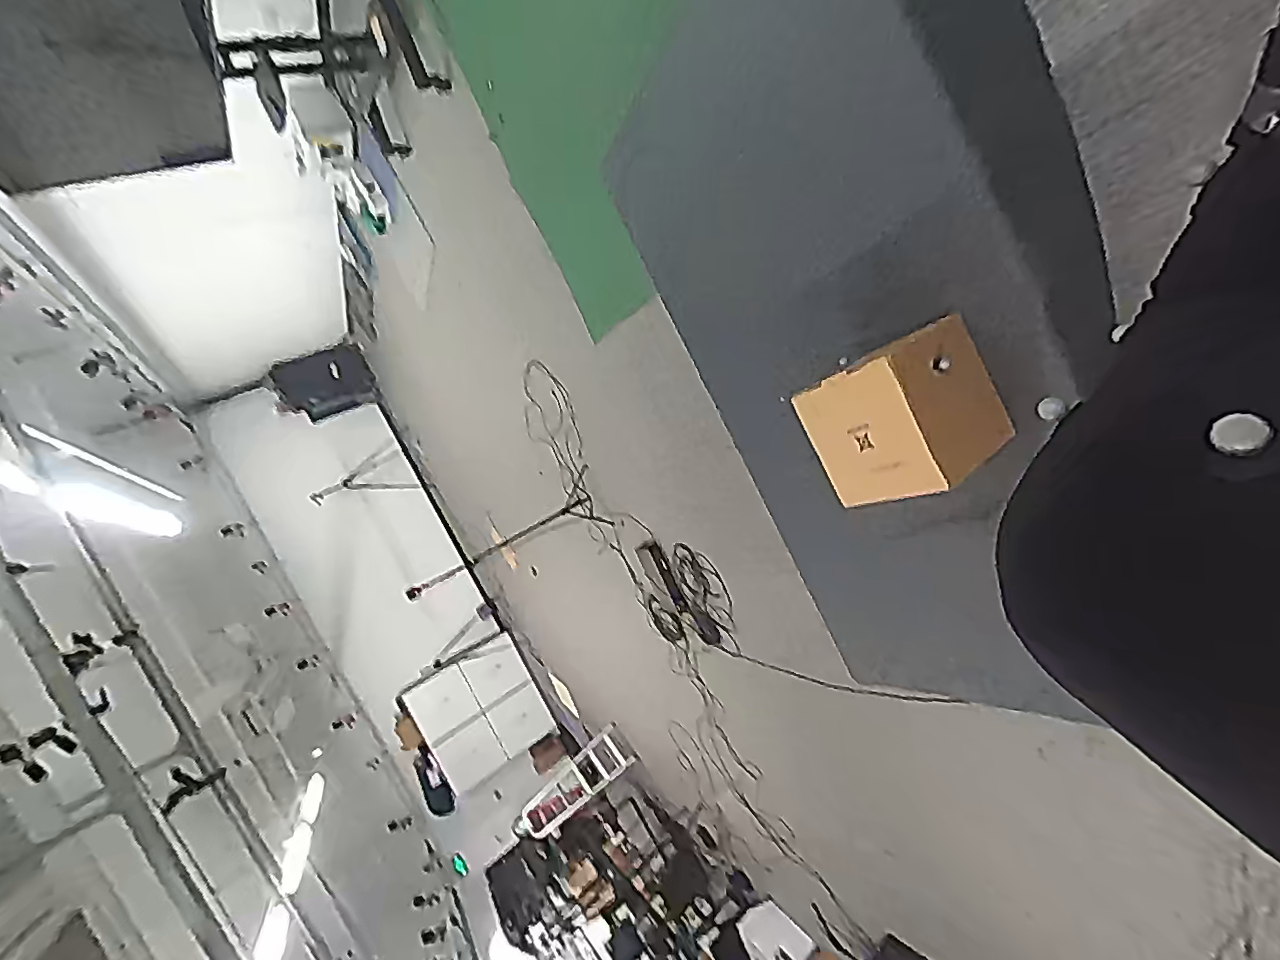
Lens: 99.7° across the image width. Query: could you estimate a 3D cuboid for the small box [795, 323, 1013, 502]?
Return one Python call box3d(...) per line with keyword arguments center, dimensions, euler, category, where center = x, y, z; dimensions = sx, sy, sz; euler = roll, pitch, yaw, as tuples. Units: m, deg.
box3d(center=(0.354, -0.093, 0.733), dimensions=(0.179, 0.176, 0.168), euler=(61, 154, -3), category="small box")
